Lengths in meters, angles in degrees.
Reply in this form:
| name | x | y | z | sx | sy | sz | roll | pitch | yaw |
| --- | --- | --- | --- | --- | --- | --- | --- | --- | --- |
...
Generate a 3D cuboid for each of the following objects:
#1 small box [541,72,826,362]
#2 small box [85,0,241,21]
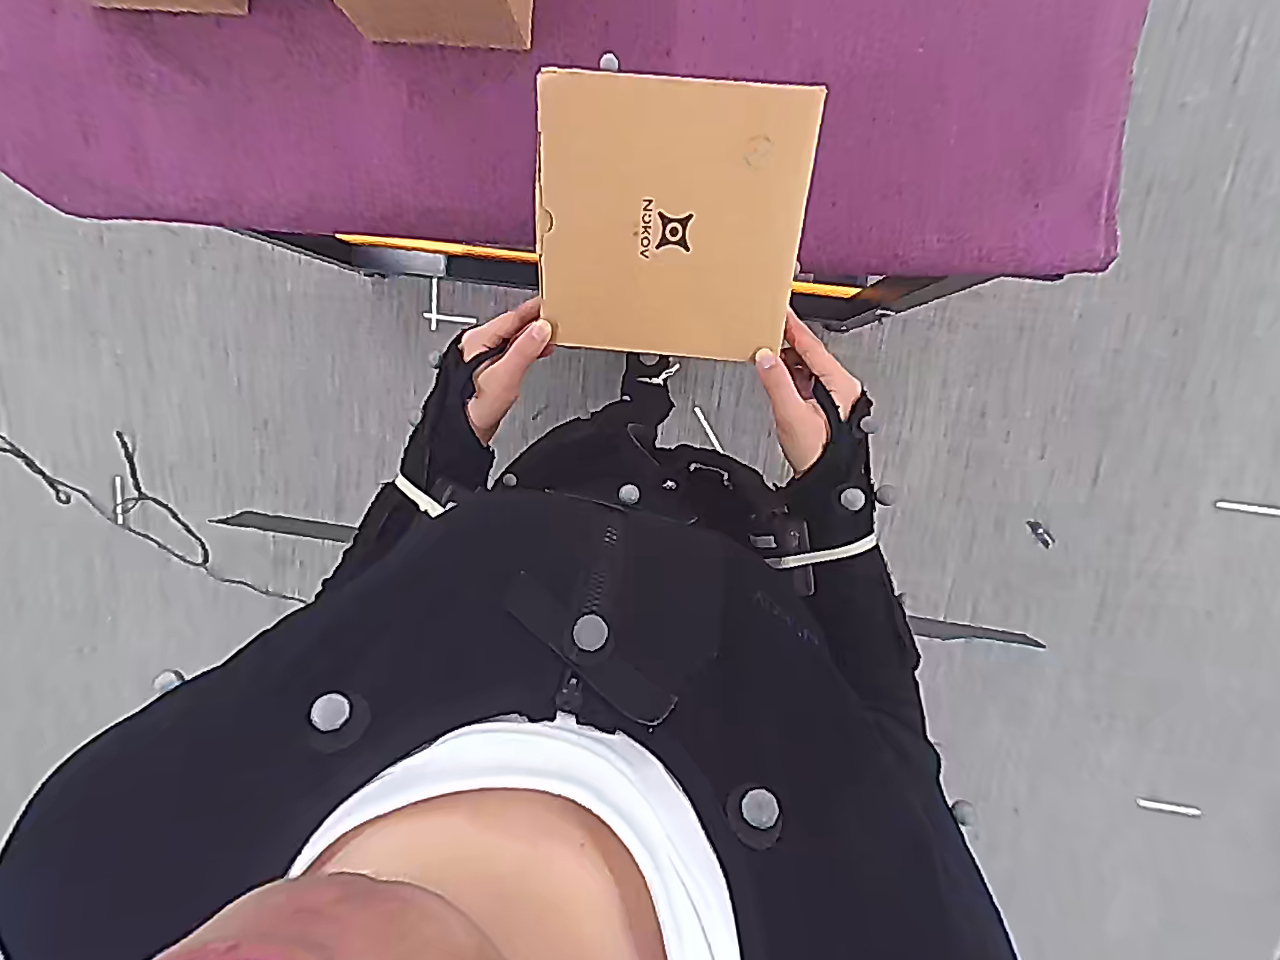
| name | x | y | z | sx | sy | sz | roll | pitch | yaw |
| --- | --- | --- | --- | --- | --- | --- | --- | --- | --- |
| small box | 0.028 | -0.201 | 0.431 | 0.179 | 0.176 | 0.168 | 6 | 115 | 4 |
| small box | -0.495 | -0.561 | 0.489 | 0.179 | 0.176 | 0.168 | 4 | 99 | 1 |
